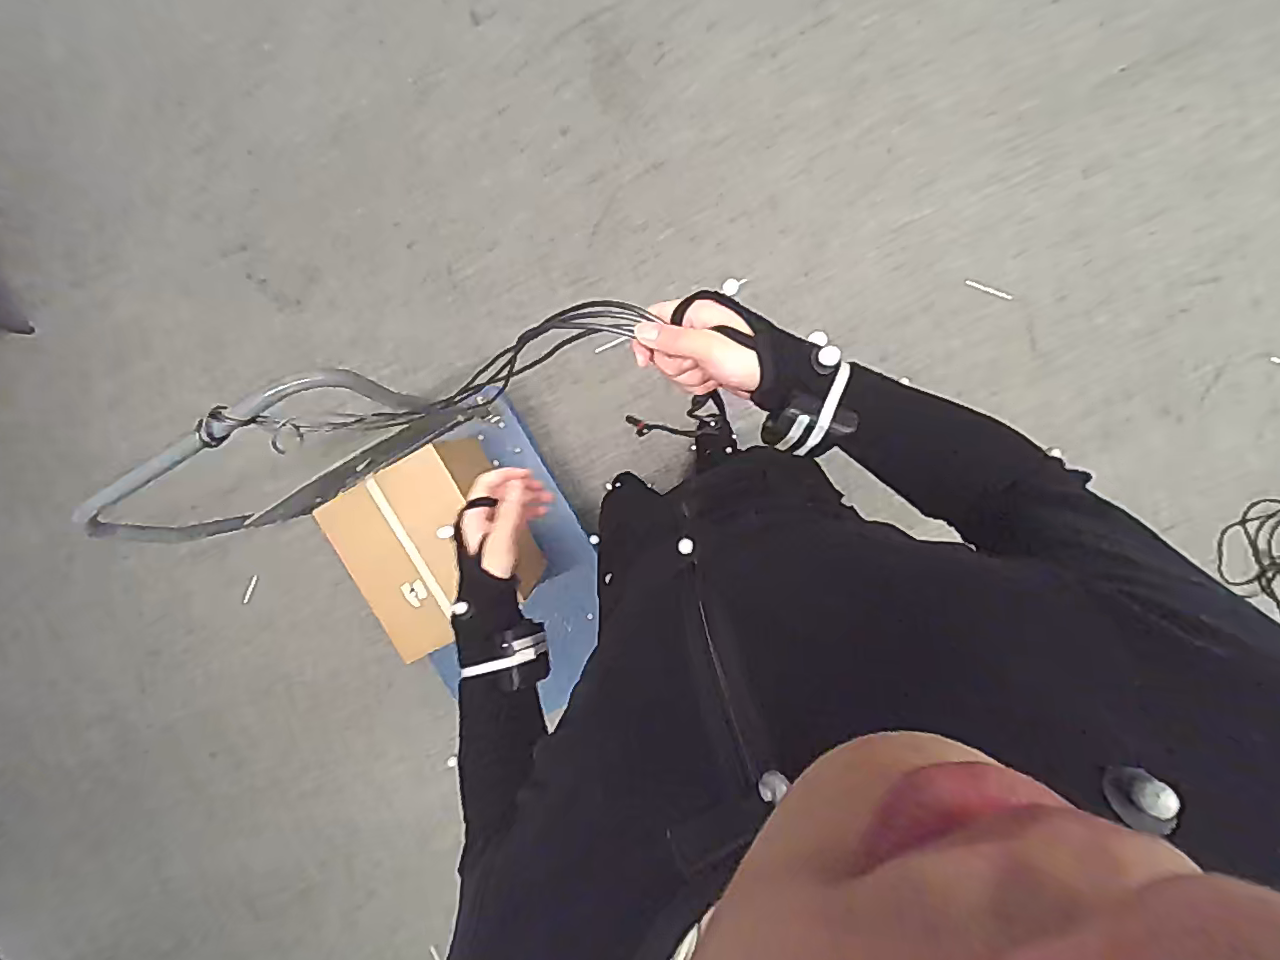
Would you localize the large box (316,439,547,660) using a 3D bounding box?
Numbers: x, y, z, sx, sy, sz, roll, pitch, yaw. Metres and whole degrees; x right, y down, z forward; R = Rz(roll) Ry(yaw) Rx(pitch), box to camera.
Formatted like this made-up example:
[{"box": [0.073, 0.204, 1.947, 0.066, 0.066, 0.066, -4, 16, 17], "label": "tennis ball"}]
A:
[{"box": [-0.481, 0.146, 1.334, 0.320, 0.320, 0.408, -29, 96, 4], "label": "large box"}]
